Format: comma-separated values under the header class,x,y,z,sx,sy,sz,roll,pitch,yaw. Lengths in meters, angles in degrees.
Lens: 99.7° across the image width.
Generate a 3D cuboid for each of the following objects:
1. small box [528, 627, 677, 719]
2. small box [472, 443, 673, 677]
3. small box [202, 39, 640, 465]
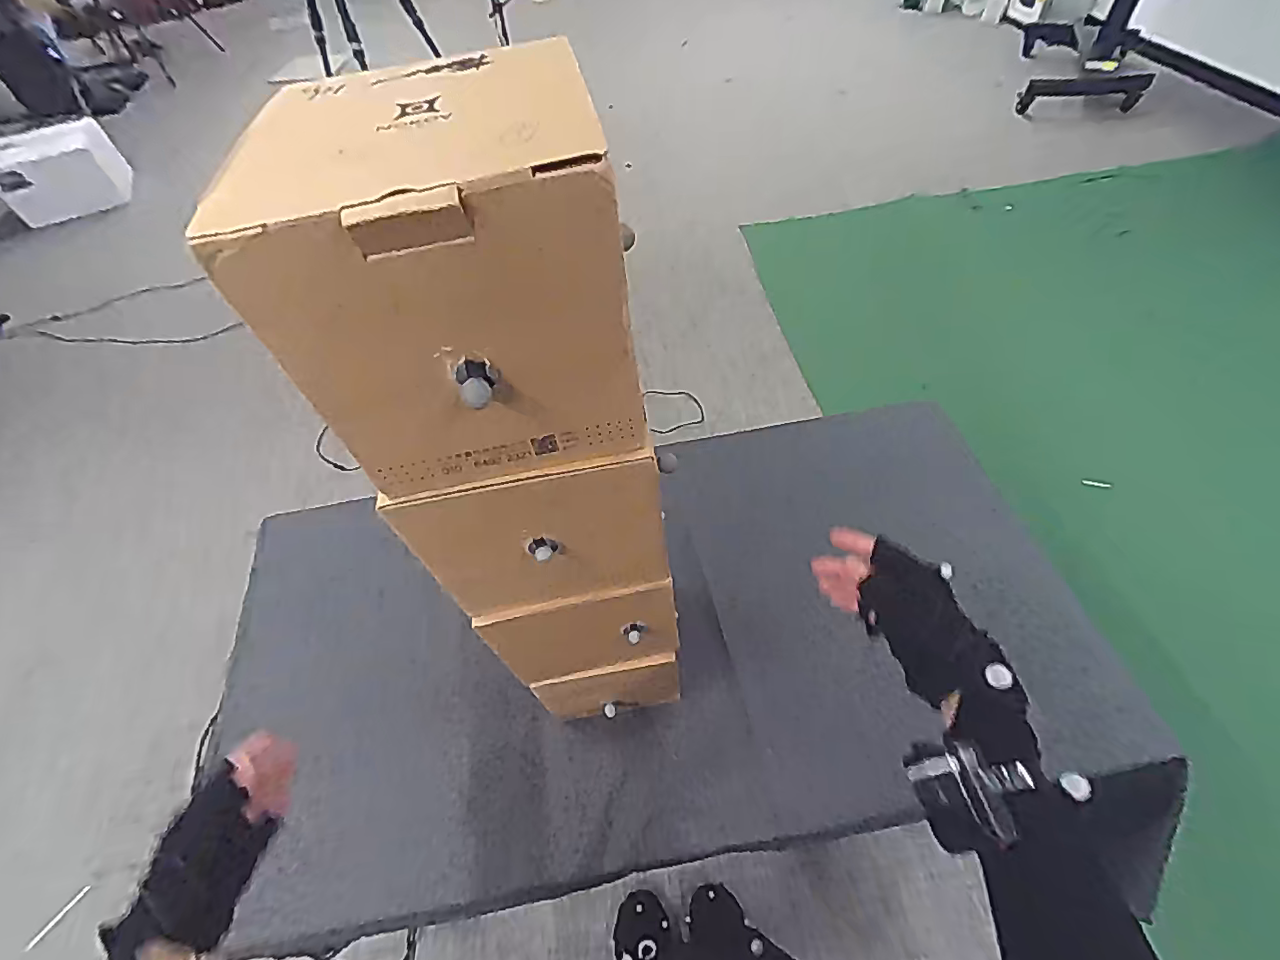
class,x,y,z,sx,sy,sz,roll,pitch,yaw
small box,-0.047,0.188,0.700,0.168,0.176,0.179,-10,53,-1
small box,-0.065,0.088,0.572,0.179,0.176,0.168,-12,52,-3
small box,-0.098,-0.125,0.326,0.168,0.176,0.179,-11,52,-2
